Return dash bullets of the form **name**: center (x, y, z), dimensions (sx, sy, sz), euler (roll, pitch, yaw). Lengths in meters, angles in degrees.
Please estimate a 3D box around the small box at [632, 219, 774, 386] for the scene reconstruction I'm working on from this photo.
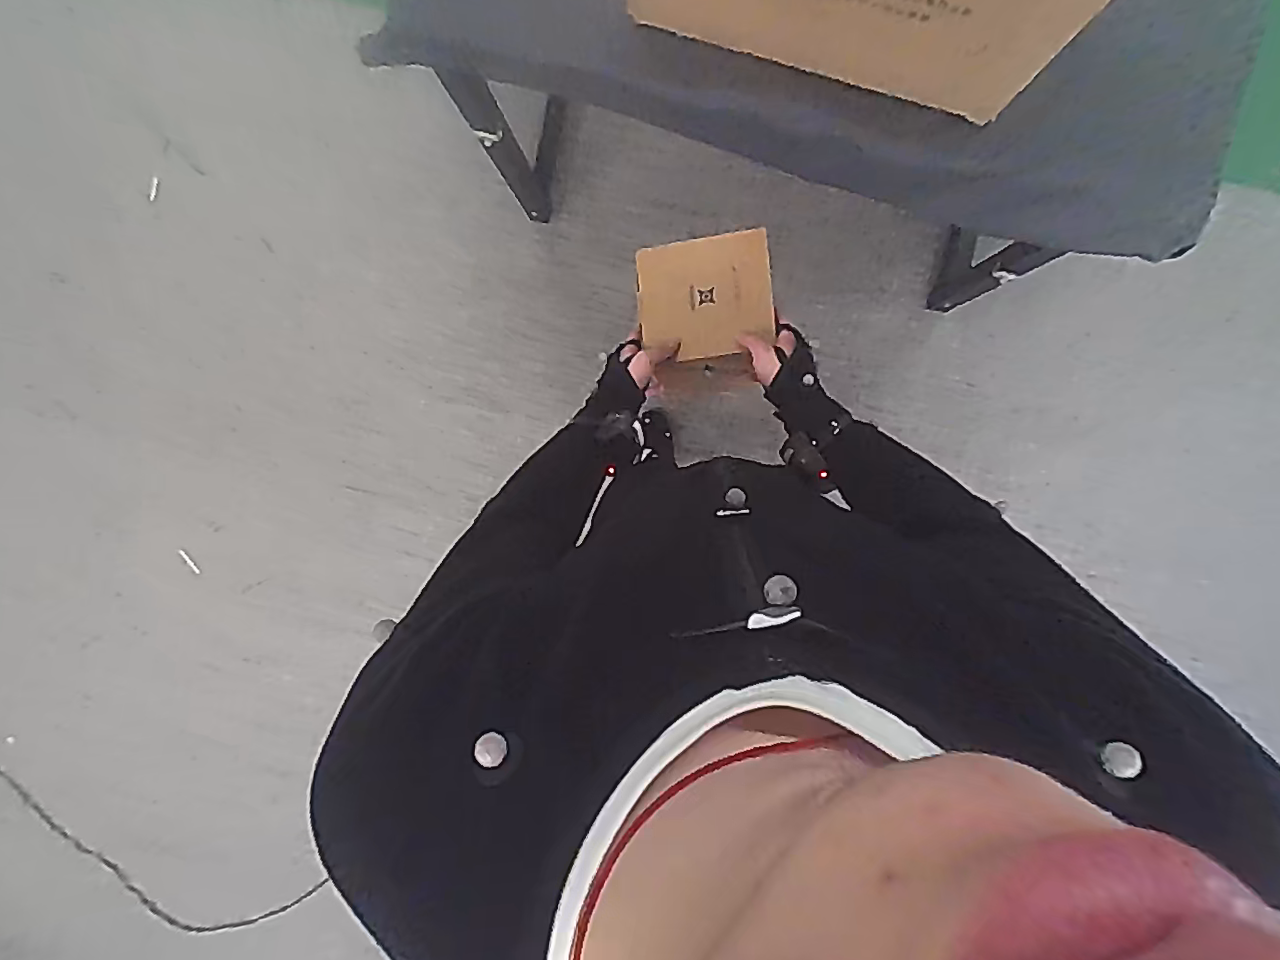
- **small box**: center (0.093, -0.242, 0.782), dimensions (0.179, 0.176, 0.168), euler (-5, 84, 9)
